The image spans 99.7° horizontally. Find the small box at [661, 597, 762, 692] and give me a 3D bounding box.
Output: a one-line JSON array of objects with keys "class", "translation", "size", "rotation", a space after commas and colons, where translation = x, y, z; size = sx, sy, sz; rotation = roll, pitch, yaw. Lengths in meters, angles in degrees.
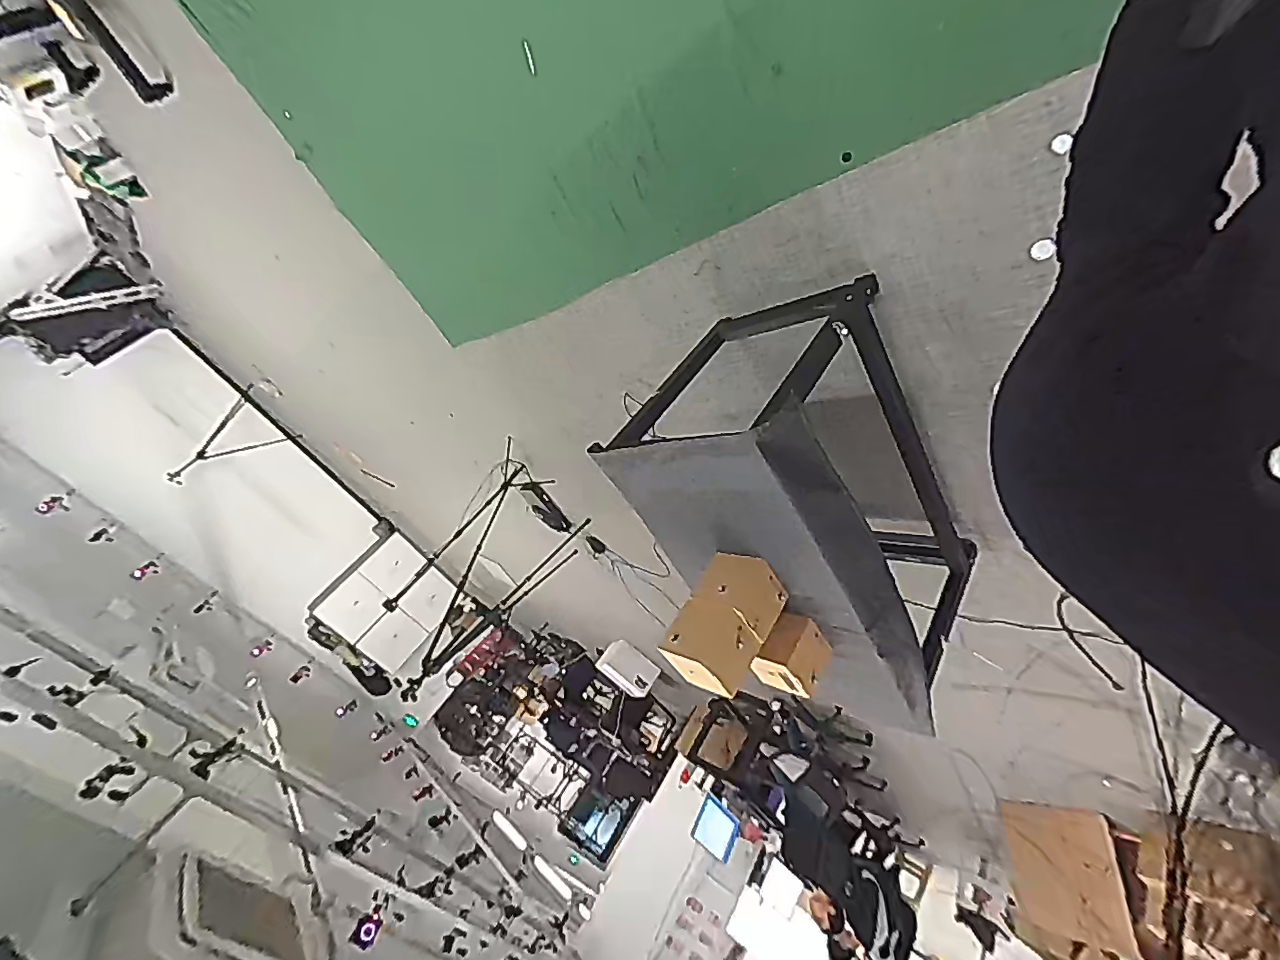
[{"class": "small box", "translation": [0.198, 0.438, 1.469], "size": [0.179, 0.176, 0.168], "rotation": [-3, 132, 52]}]

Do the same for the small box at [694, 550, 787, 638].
[{"class": "small box", "translation": [0.291, 0.315, 1.527], "size": [0.179, 0.176, 0.168], "rotation": [0, 134, 52]}]
